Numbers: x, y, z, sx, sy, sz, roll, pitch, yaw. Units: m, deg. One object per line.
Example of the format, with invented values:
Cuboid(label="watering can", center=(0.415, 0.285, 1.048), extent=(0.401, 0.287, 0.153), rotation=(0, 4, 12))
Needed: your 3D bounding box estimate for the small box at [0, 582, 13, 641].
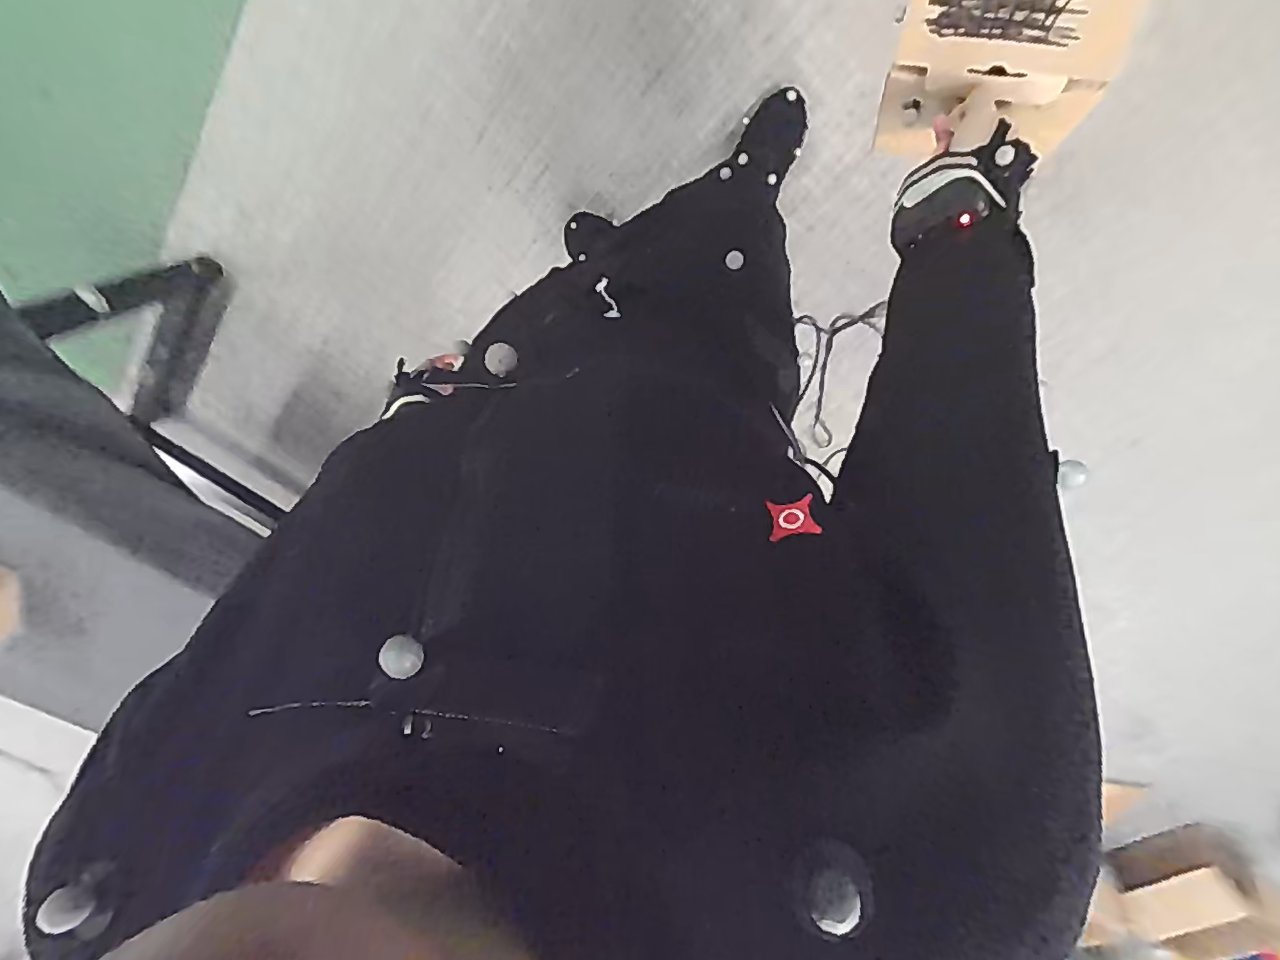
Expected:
Cuboid(label="small box", center=(-1.096, 0.209, 0.795), extent=(0.168, 0.176, 0.179), rotation=(32, 122, -14))
